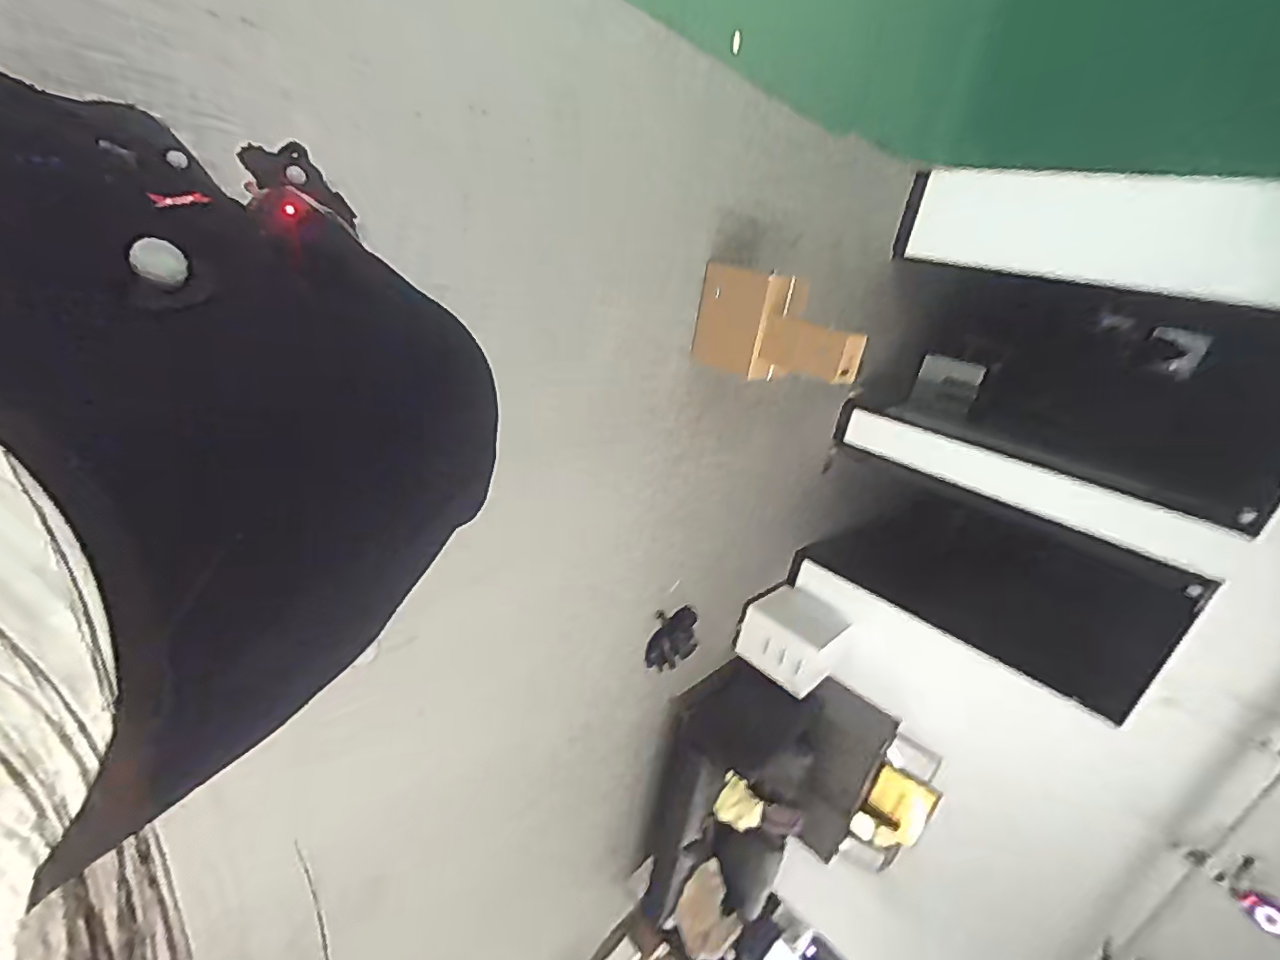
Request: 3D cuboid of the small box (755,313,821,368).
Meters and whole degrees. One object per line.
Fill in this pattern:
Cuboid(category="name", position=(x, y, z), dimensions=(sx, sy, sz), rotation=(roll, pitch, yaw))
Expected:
Cuboid(category="small box", position=(0.570, -0.543, 2.099), dimensions=(0.168, 0.176, 0.179), rotation=(-13, 124, -43))

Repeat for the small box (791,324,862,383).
Cuboid(category="small box", position=(0.683, -0.471, 2.003), dimensions=(0.168, 0.176, 0.179), rotation=(-15, 125, -42))
